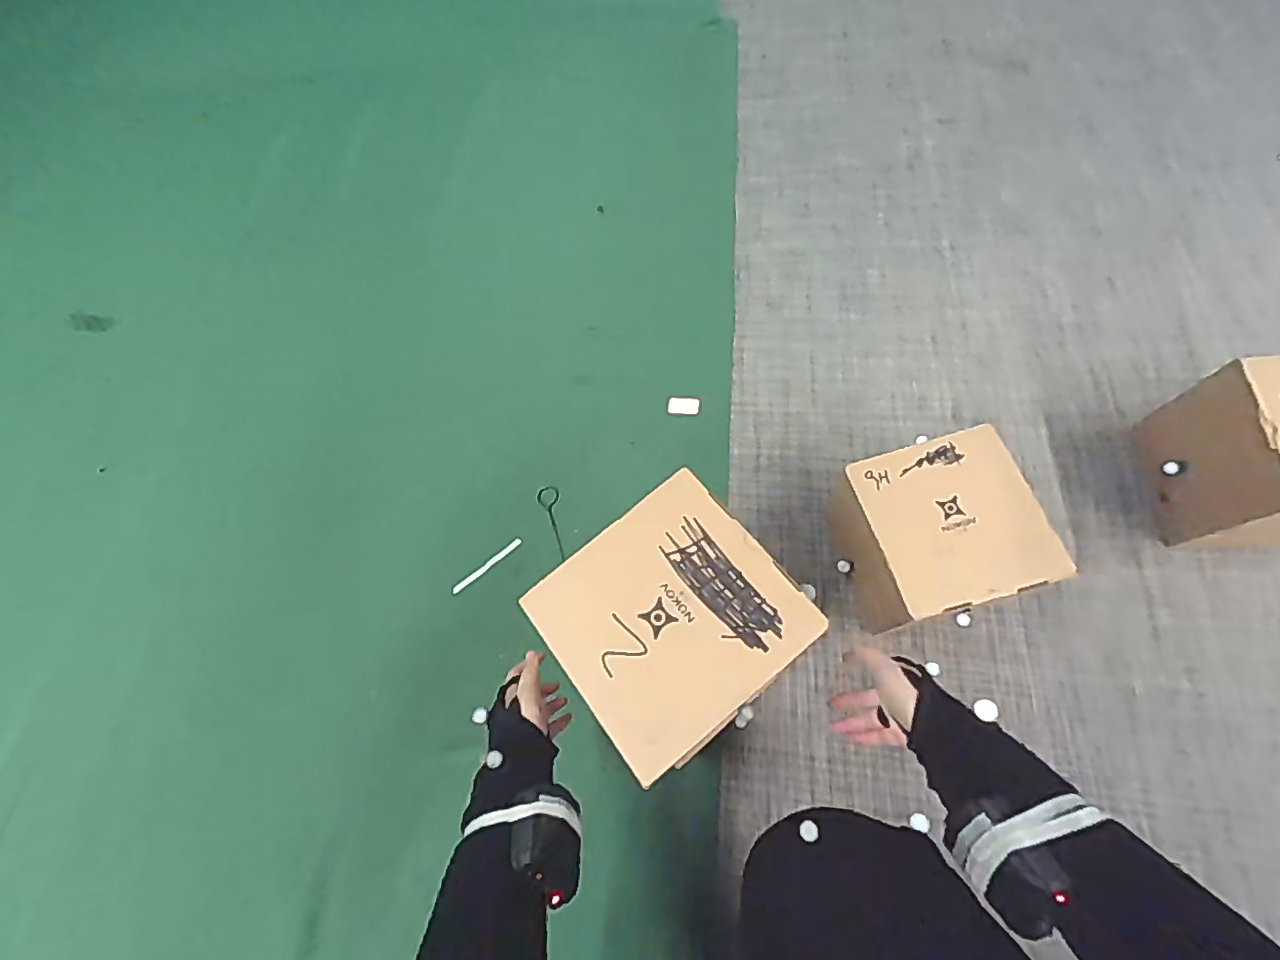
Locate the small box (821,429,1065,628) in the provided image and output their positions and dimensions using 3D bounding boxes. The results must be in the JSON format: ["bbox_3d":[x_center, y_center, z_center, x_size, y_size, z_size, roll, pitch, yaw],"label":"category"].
[{"bbox_3d":[0.329,0.069,0.632,0.168,0.176,0.179,-16,68,3],"label":"small box"}]

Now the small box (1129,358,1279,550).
[{"bbox_3d":[0.716,-0.022,0.602,0.179,0.176,0.168,-1,68,8],"label":"small box"}]

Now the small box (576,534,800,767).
[{"bbox_3d":[0.058,0.197,0.627,0.179,0.176,0.168,-40,68,-8],"label":"small box"}]
